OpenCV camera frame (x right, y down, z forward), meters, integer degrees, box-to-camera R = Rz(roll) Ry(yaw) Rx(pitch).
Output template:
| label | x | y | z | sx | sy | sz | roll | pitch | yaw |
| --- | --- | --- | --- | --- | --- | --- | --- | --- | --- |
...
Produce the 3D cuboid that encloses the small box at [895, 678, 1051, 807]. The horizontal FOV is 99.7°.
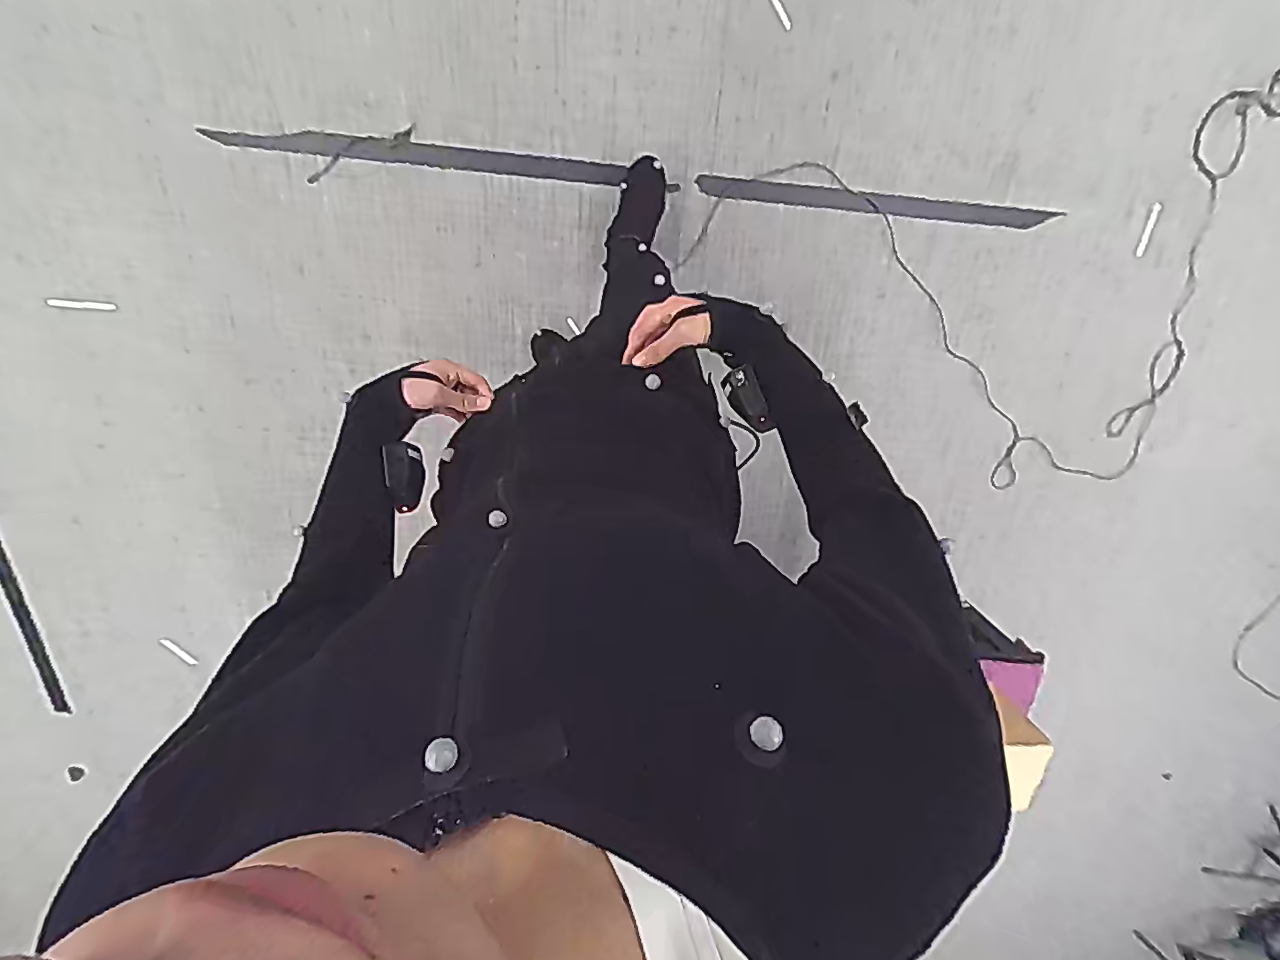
| label | x | y | z | sx | sy | sz | roll | pitch | yaw |
| --- | --- | --- | --- | --- | --- | --- | --- | --- | --- |
| small box | 0.645 | 0.512 | 1.070 | 0.179 | 0.176 | 0.168 | 2 | 111 | -6 |
